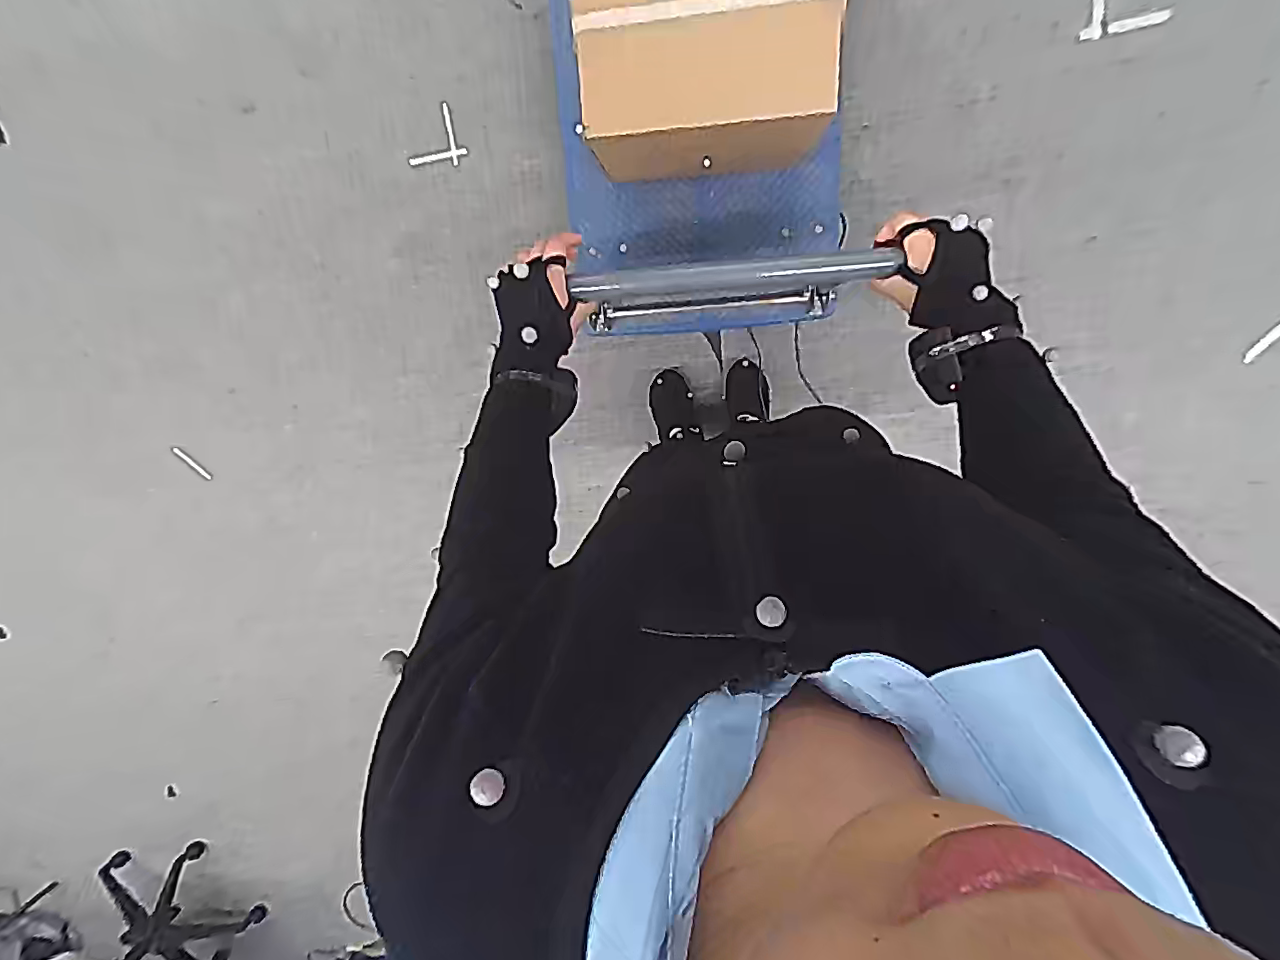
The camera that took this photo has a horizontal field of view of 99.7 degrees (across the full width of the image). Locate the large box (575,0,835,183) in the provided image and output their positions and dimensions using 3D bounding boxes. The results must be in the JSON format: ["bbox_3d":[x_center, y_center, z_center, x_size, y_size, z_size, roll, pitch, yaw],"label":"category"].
[{"bbox_3d":[0.116,-0.762,0.980,0.408,0.320,0.320,-2,105,8],"label":"large box"}]
